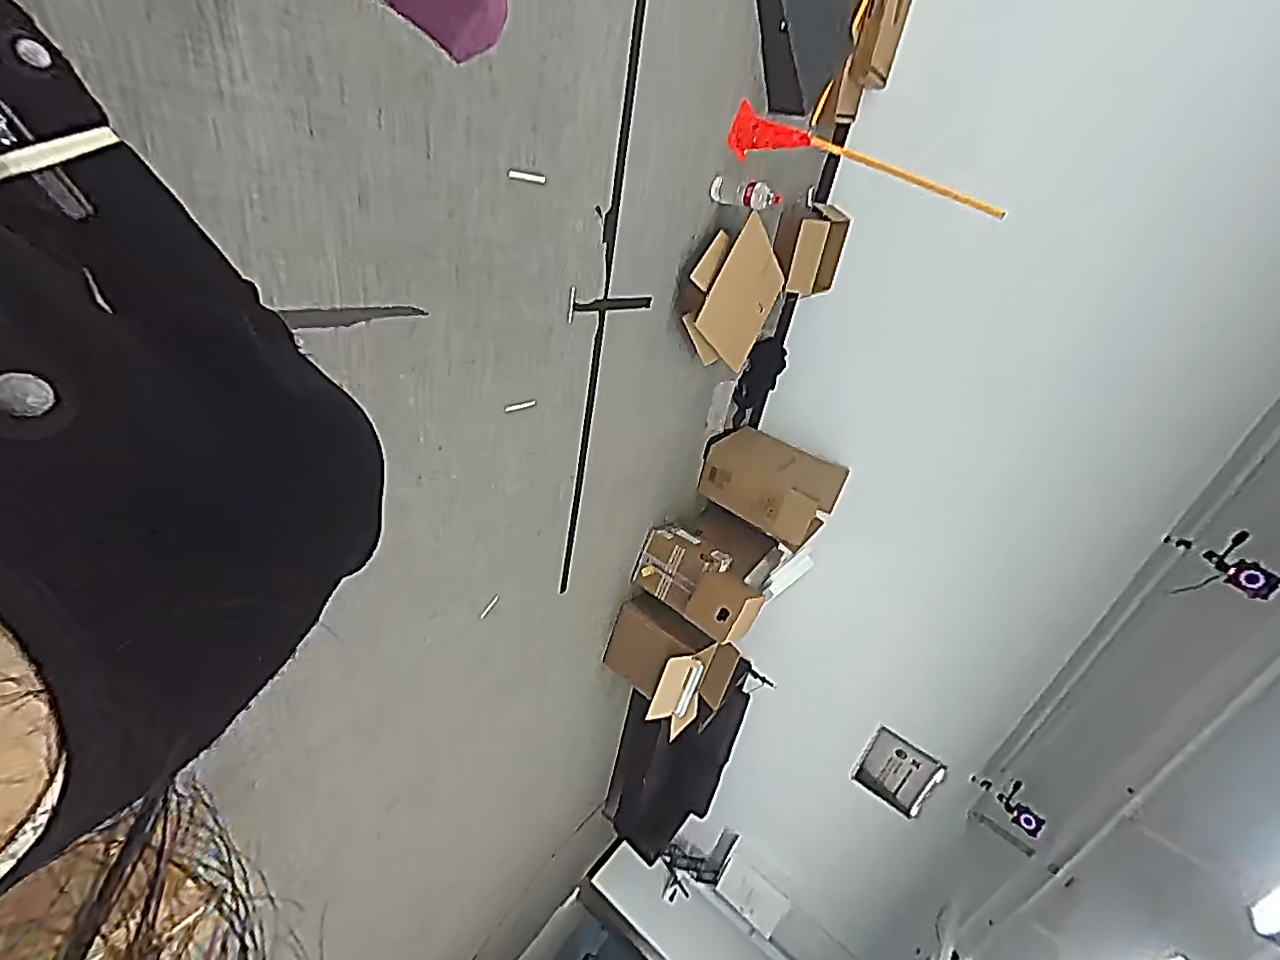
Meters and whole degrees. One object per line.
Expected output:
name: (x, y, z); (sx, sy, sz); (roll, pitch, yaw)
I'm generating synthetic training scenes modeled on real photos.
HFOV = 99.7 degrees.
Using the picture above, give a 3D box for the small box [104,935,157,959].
small box: (-1.320, 1.316, 1.361); (0.179, 0.176, 0.168); (-26, 134, -47)
